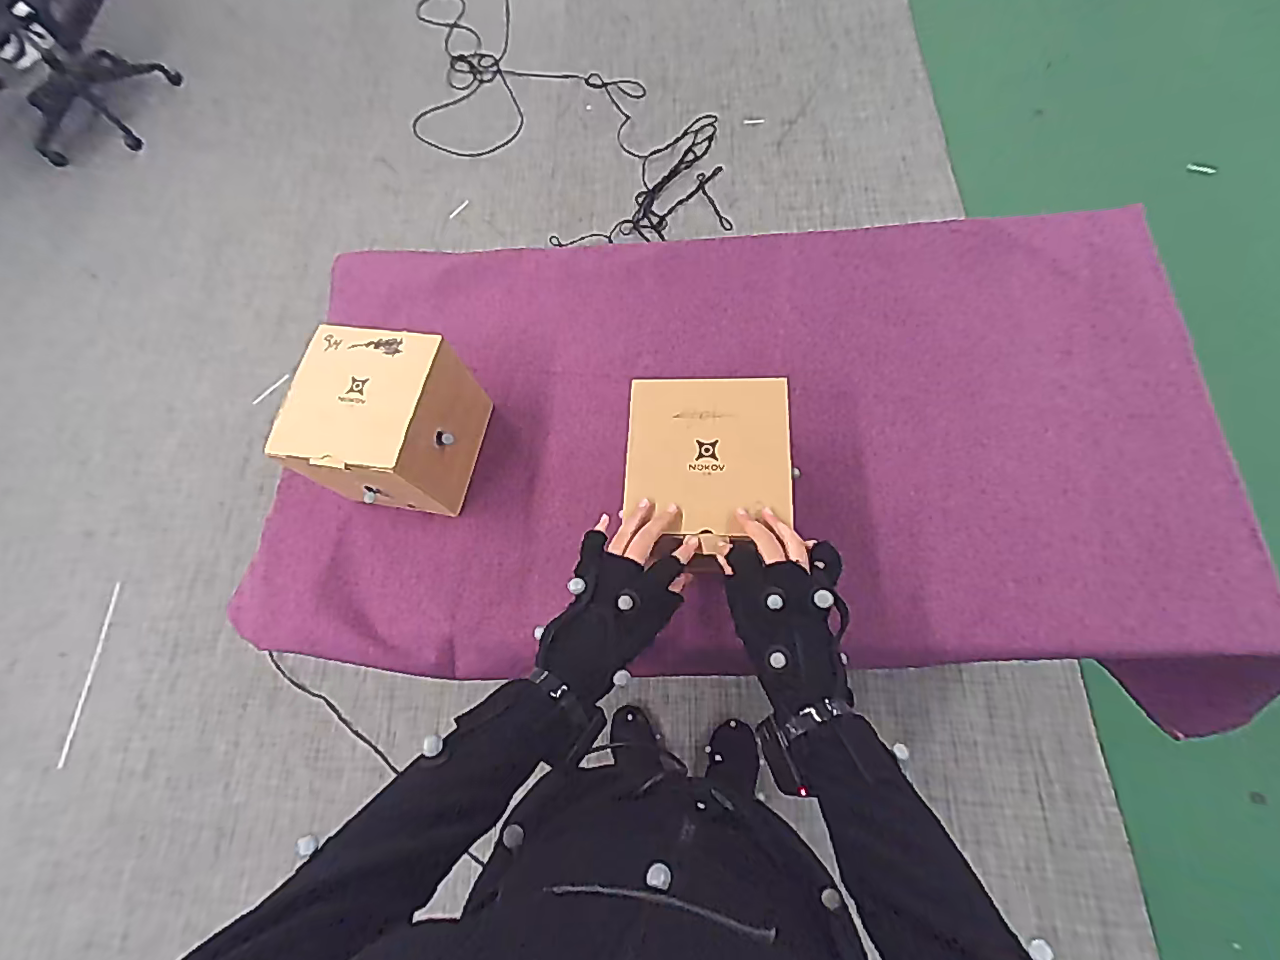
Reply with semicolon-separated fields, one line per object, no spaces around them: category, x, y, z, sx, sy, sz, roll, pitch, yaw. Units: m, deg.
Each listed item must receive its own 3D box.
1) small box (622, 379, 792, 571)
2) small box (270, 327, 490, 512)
small box;0.078;0.003;0.618;0.168;0.176;0.179;1;69;7
small box;-0.313;-0.069;0.693;0.168;0.176;0.179;8;71;9
